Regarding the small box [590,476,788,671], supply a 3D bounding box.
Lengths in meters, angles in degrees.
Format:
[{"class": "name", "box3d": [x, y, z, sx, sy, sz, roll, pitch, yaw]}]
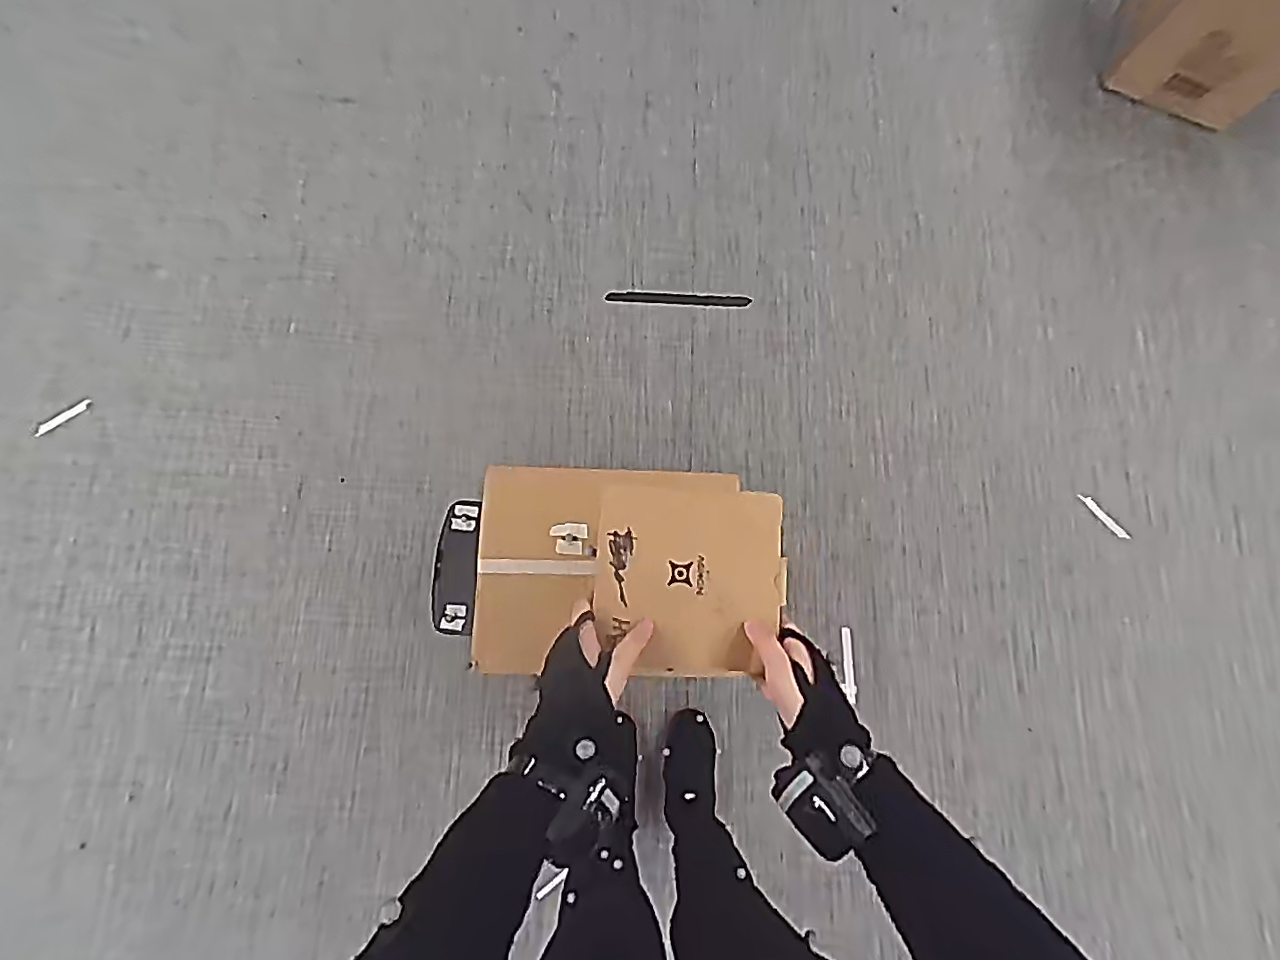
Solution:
[{"class": "small box", "box3d": [0.042, 0.100, 0.569, 0.179, 0.176, 0.168, 5, 77, -3]}]

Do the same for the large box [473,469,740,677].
[{"class": "large box", "box3d": [-0.048, 0.165, 0.968, 0.408, 0.320, 0.320, 1, 77, -1]}]
